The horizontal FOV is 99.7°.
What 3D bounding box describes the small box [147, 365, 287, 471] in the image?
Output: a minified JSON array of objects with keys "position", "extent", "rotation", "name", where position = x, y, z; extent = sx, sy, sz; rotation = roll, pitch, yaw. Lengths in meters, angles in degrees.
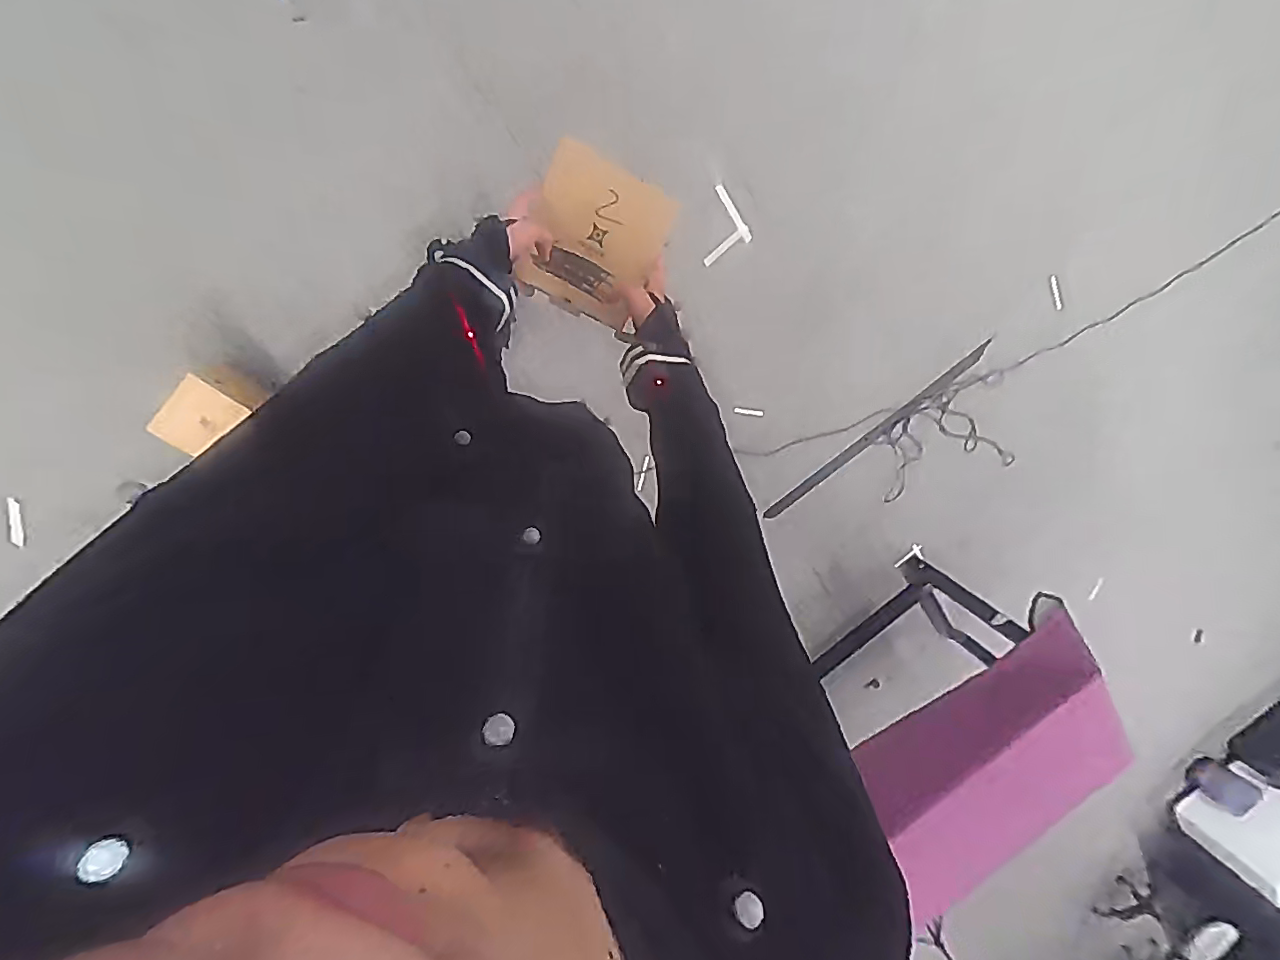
[{"position":[-0.983,-0.153,1.274],"extent":[0.179,0.176,0.168],"rotation":[39,96,-27],"name":"small box"}]
